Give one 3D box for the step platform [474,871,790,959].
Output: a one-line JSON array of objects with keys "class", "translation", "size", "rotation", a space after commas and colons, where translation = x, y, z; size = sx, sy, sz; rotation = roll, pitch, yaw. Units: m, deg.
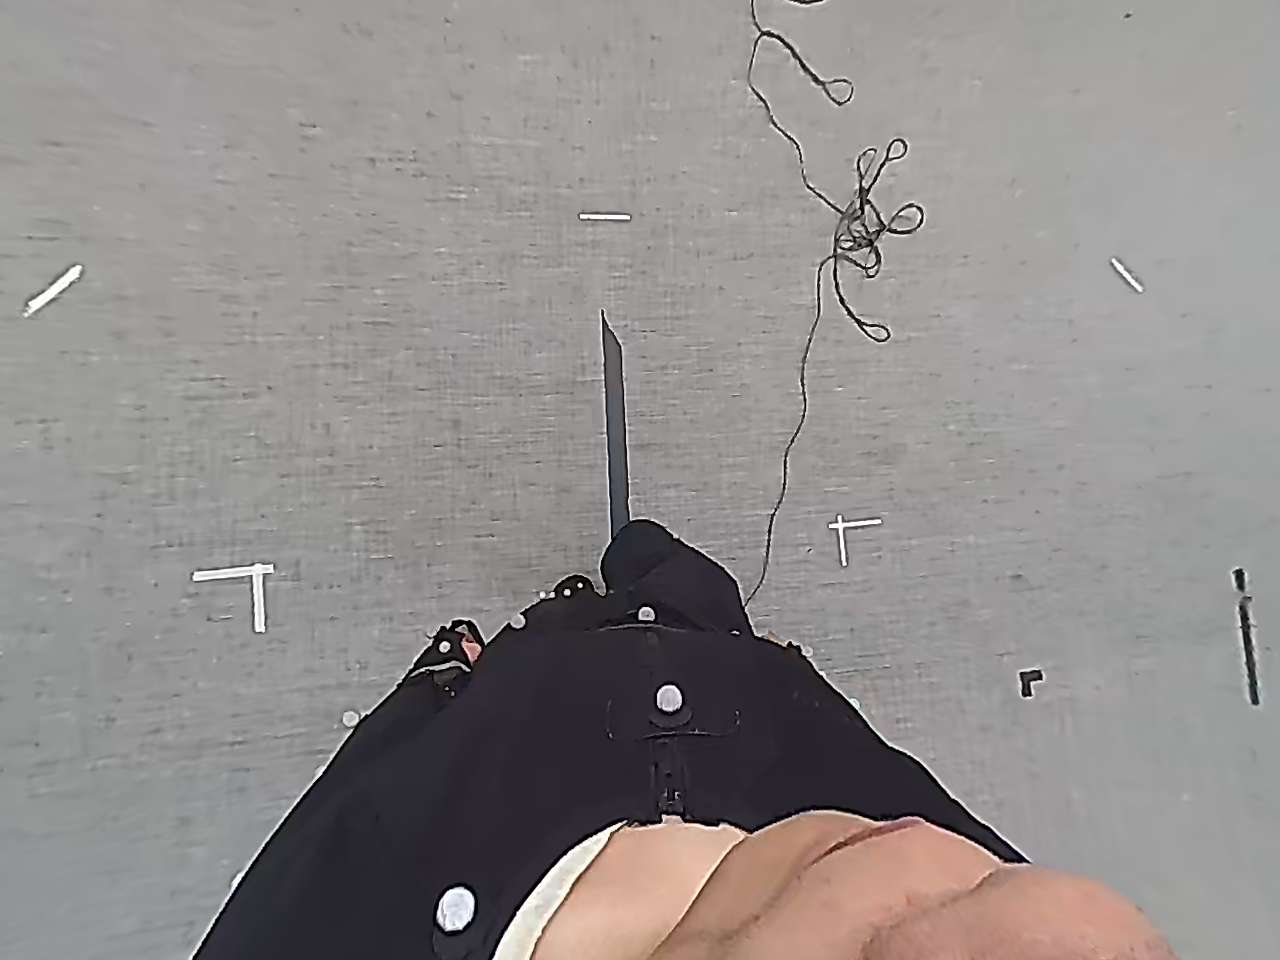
[{"class": "step platform", "translation": [-0.017, 1.077, 1.183], "size": [0.684, 0.204, 0.286], "rotation": [2, 83, -5]}]
